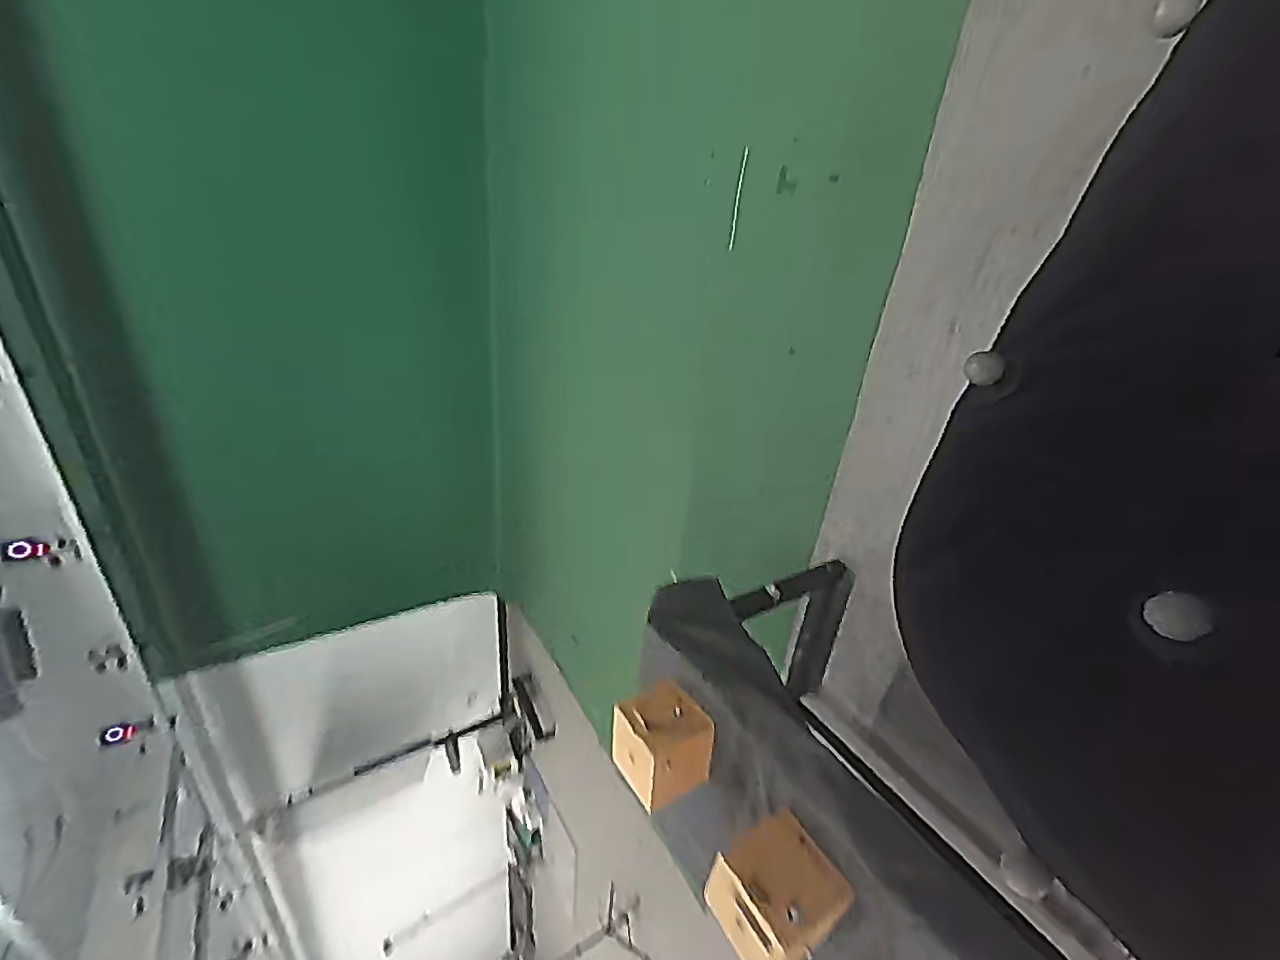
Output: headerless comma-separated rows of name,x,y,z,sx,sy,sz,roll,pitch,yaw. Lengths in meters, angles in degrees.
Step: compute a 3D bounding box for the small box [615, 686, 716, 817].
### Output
small box,0.057,0.615,1.242,0.168,0.176,0.179,32,126,50
